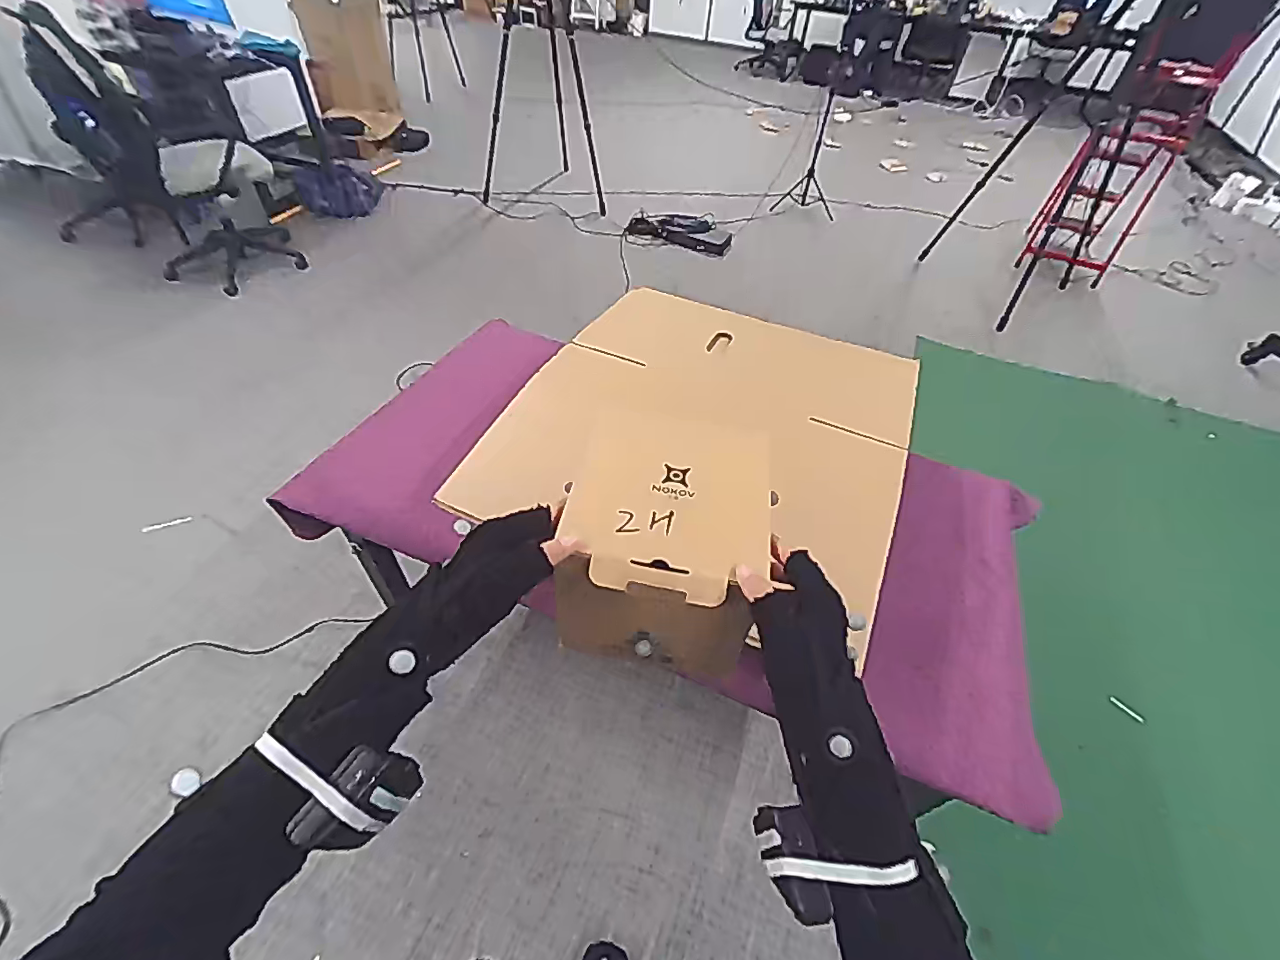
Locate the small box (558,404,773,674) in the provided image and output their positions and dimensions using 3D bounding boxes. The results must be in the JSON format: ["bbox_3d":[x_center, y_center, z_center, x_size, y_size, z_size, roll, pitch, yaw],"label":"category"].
[{"bbox_3d":[0.024,0.057,0.519,0.168,0.176,0.179,10,48,4],"label":"small box"}]
